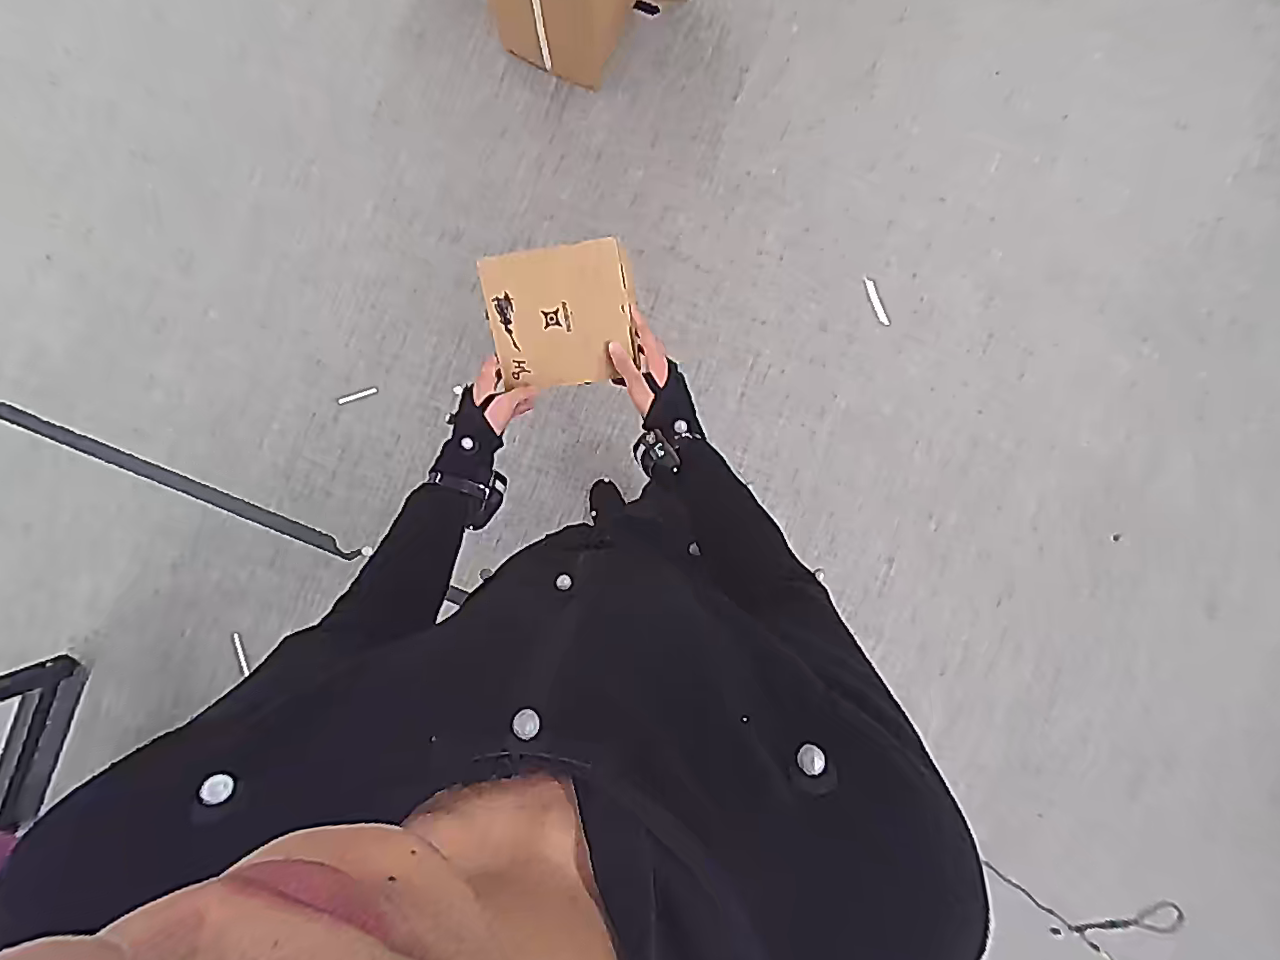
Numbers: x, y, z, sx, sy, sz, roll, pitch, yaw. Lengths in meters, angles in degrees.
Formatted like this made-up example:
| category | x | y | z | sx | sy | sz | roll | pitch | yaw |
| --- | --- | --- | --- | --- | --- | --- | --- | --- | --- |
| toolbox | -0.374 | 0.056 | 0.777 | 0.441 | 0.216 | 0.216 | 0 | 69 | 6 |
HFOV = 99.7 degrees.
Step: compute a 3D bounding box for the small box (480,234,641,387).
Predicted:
| category | x | y | z | sx | sy | sz | roll | pitch | yaw |
| --- | --- | --- | --- | --- | --- | --- | --- | --- | --- |
| small box | -0.093 | -0.230 | 0.737 | 0.179 | 0.176 | 0.168 | -7 | 108 | 5 |
